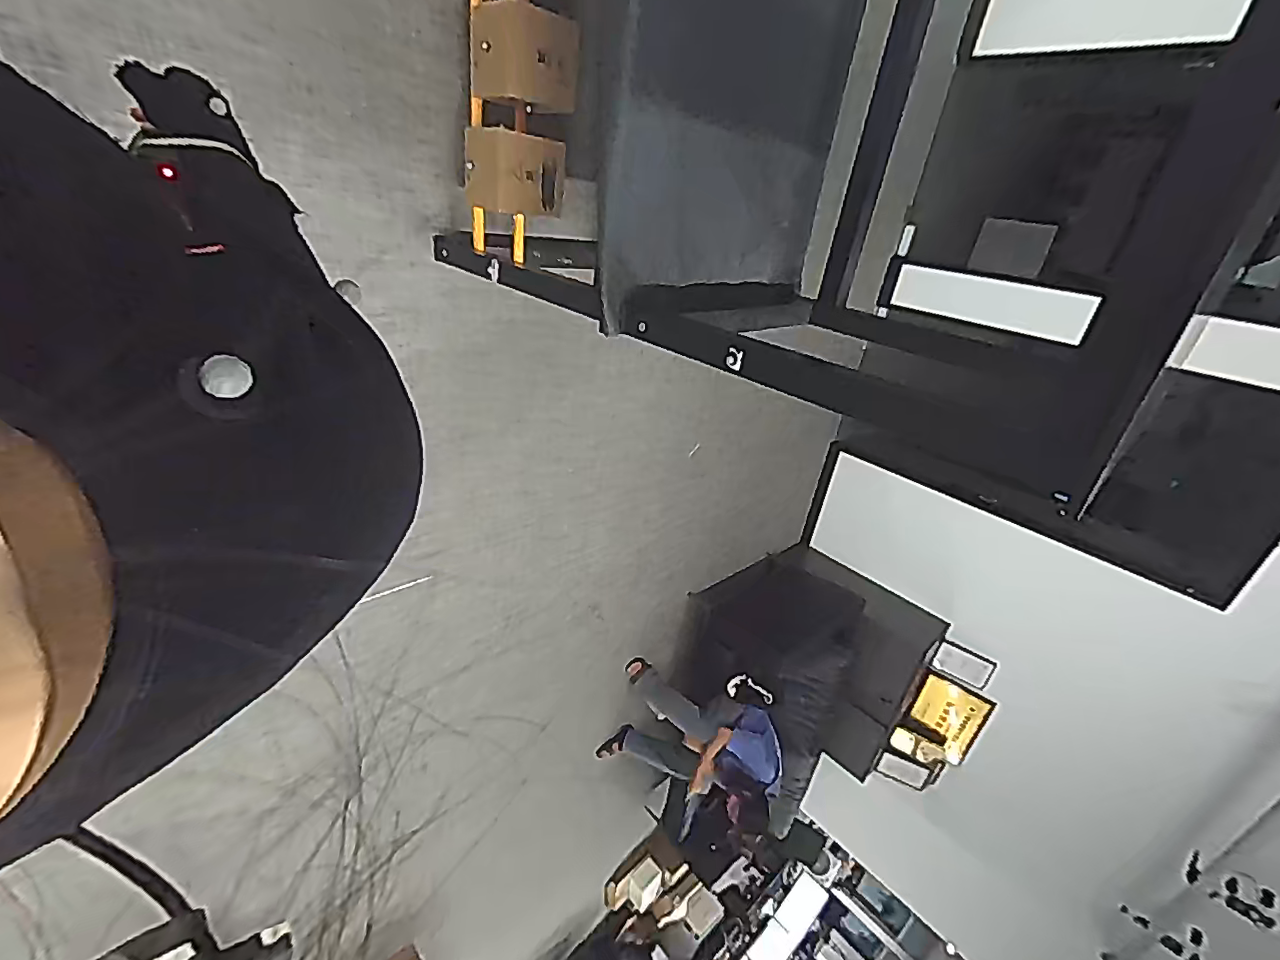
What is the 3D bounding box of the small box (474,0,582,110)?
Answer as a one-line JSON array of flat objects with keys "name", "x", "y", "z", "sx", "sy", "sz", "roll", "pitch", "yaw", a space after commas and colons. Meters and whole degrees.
[{"name": "small box", "x": -0.254, "y": -0.939, "z": 1.202, "sx": 0.179, "sy": 0.176, "sz": 0.168, "roll": -17, "pitch": 128, "yaw": -40}]
